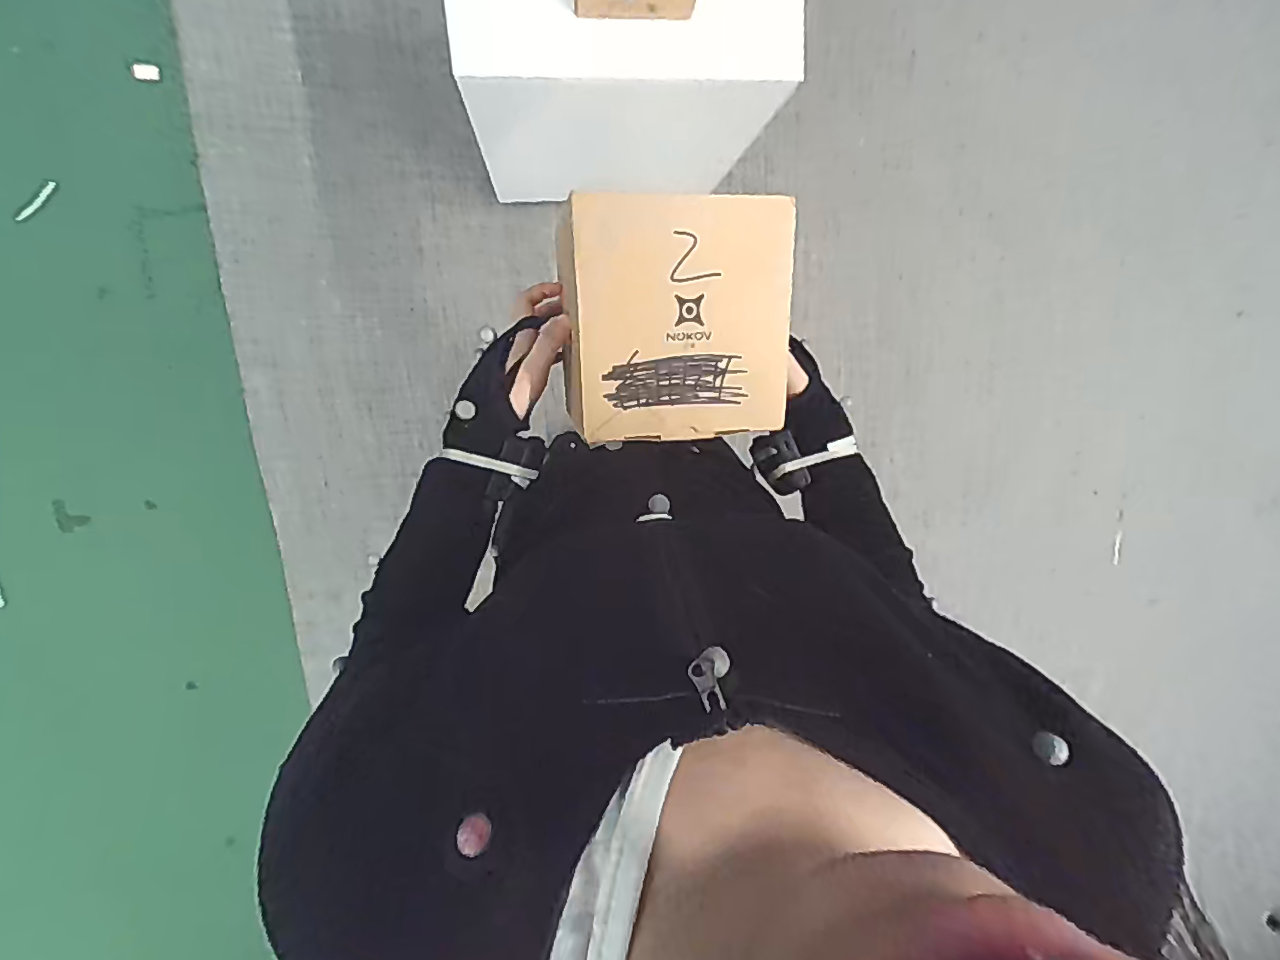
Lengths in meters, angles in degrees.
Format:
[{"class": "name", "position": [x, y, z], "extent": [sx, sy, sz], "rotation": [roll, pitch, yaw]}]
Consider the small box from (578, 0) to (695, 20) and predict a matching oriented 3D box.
[{"class": "small box", "position": [-0.002, -0.713, 0.654], "extent": [0.168, 0.176, 0.179], "rotation": [-5, 101, -7]}]
